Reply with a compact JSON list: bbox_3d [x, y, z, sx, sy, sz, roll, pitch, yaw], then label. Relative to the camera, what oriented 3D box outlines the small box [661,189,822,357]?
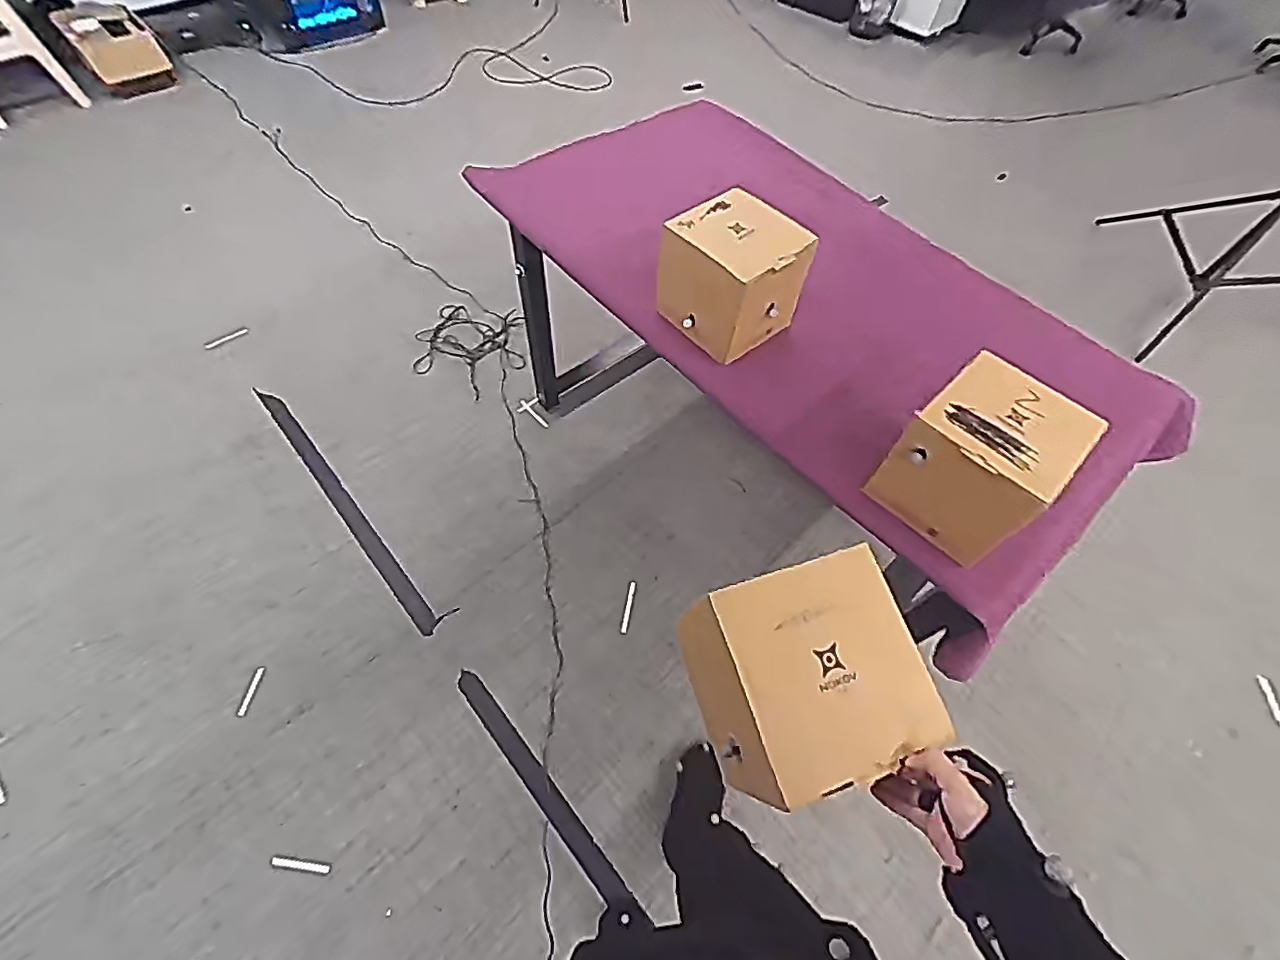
[{"bbox_3d":[0.153,-0.324,0.874,0.168,0.176,0.179,-35,67,-22],"label":"small box"}]

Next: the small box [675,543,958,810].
[{"bbox_3d":[0.150,0.183,0.526,0.168,0.176,0.179,-14,70,-16],"label":"small box"}]
